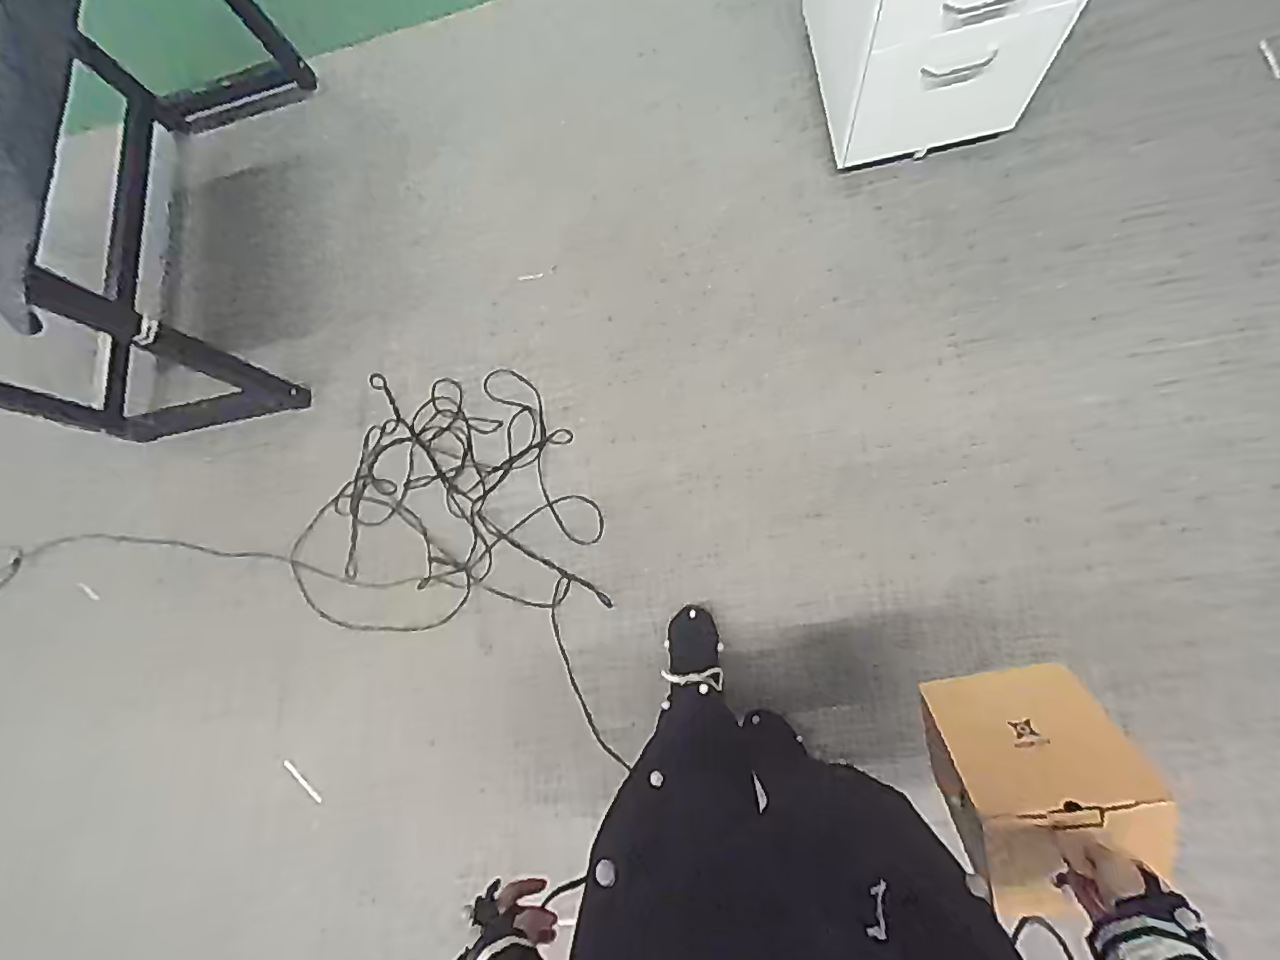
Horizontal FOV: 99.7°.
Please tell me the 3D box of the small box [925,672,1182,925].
[{"bbox_3d":[0.445,0.353,0.610,0.168,0.179,0.176,-14,112,12],"label":"small box"}]
